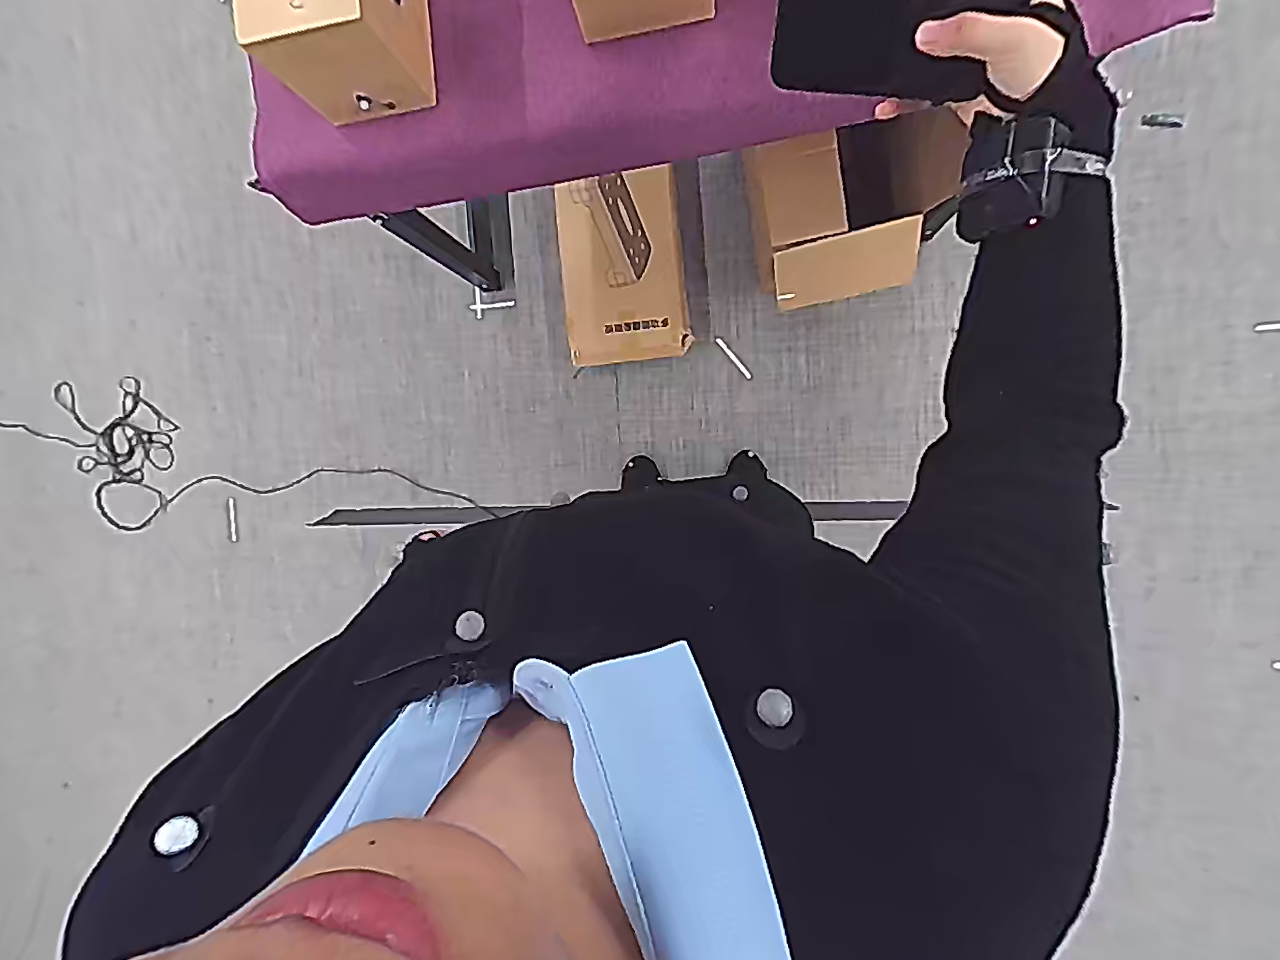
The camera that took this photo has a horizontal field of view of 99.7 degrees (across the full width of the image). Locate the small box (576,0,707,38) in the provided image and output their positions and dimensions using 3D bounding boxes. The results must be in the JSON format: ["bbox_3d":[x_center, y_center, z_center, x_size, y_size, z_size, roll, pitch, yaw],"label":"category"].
[{"bbox_3d":[-0.003,-0.674,0.633,0.179,0.176,0.168,-4,90,9],"label":"small box"}]
